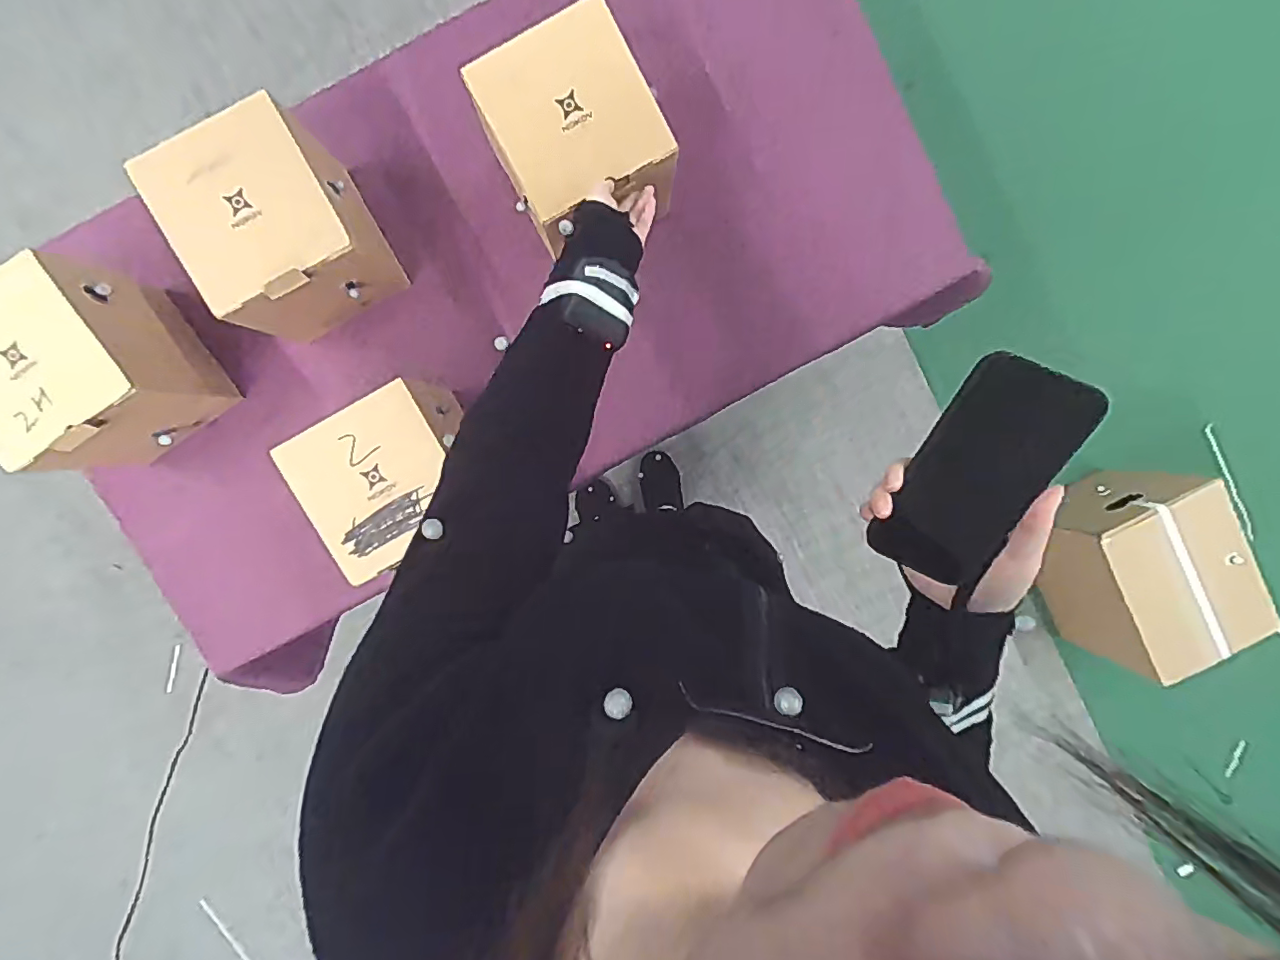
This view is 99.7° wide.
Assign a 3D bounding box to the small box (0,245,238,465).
[{"bbox_3d":[-0.645,-0.135,0.642,0.168,0.176,0.179,-33,96,2],"label":"small box"}]

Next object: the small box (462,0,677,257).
[{"bbox_3d":[-0.075,-0.398,0.634,0.168,0.176,0.179,-29,96,2],"label":"small box"}]

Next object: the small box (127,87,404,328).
[{"bbox_3d":[-0.413,-0.295,0.635,0.168,0.176,0.179,-28,96,0],"label":"small box"}]
